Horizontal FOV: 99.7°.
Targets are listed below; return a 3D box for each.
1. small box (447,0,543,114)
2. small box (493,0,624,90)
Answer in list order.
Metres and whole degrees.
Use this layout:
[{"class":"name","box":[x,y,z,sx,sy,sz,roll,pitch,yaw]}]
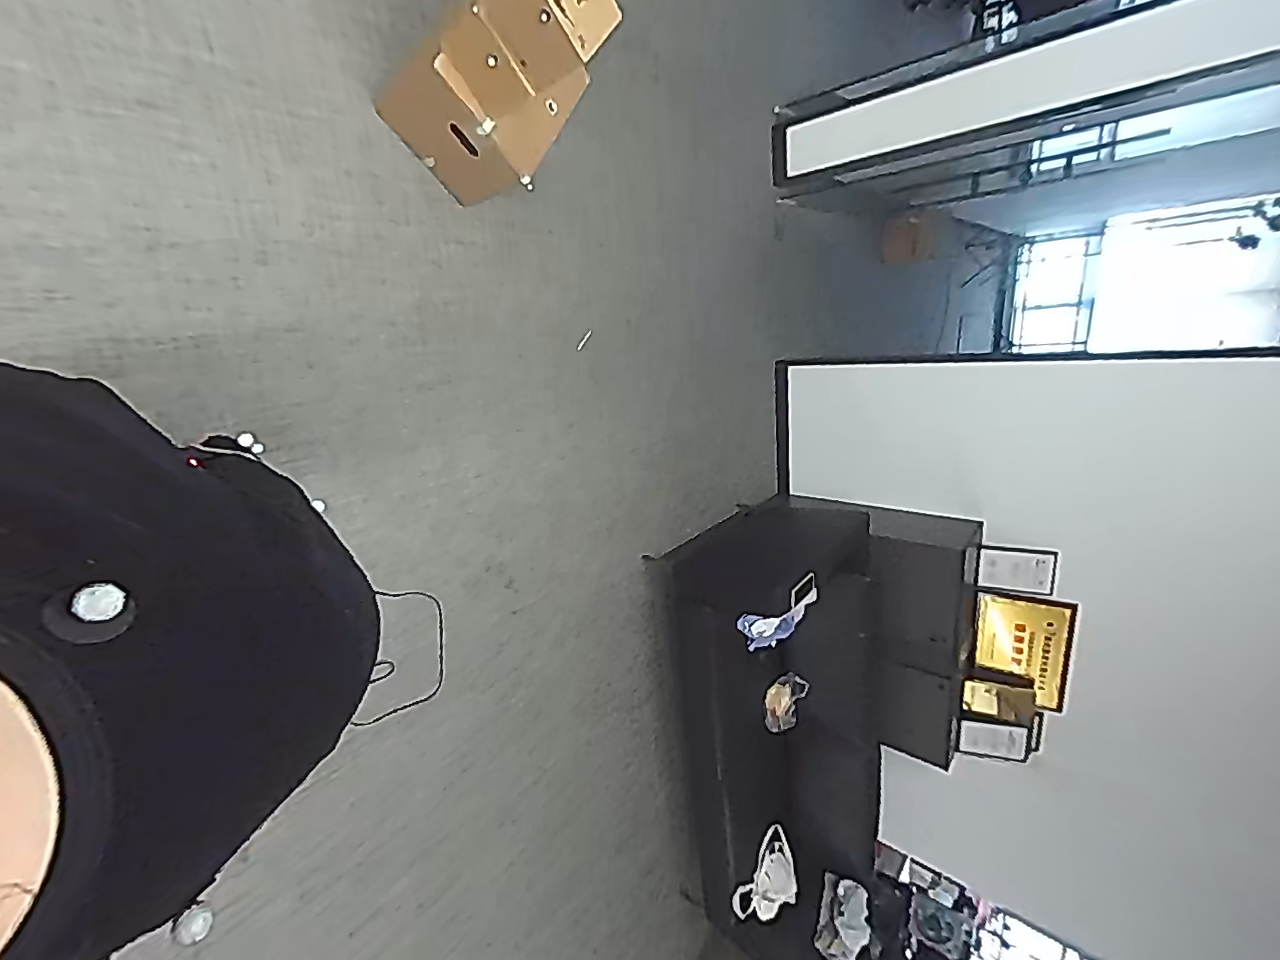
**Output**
[{"class":"small box","box":[-0.296,-0.970,1.226,0.179,0.176,0.168,50,61,-38]},{"class":"small box","box":[-0.171,-0.962,1.119,0.168,0.176,0.179,45,64,-40]}]
